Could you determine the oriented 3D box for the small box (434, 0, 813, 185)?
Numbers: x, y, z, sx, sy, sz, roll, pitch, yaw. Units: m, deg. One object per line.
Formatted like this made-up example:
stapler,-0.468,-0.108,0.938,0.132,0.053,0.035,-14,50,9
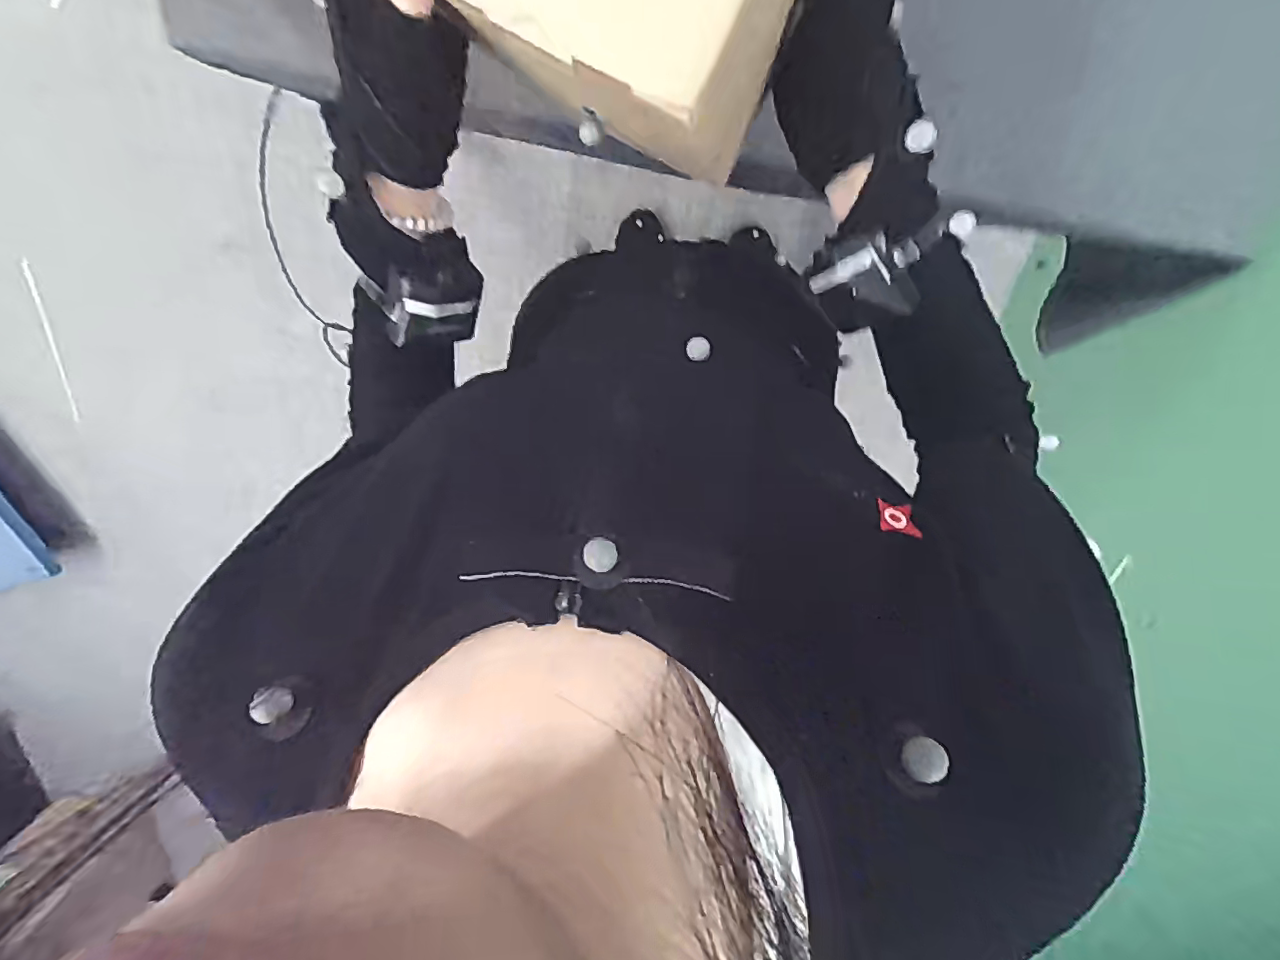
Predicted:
small box,0.004,-0.285,0.274,0.168,0.176,0.179,29,113,2
